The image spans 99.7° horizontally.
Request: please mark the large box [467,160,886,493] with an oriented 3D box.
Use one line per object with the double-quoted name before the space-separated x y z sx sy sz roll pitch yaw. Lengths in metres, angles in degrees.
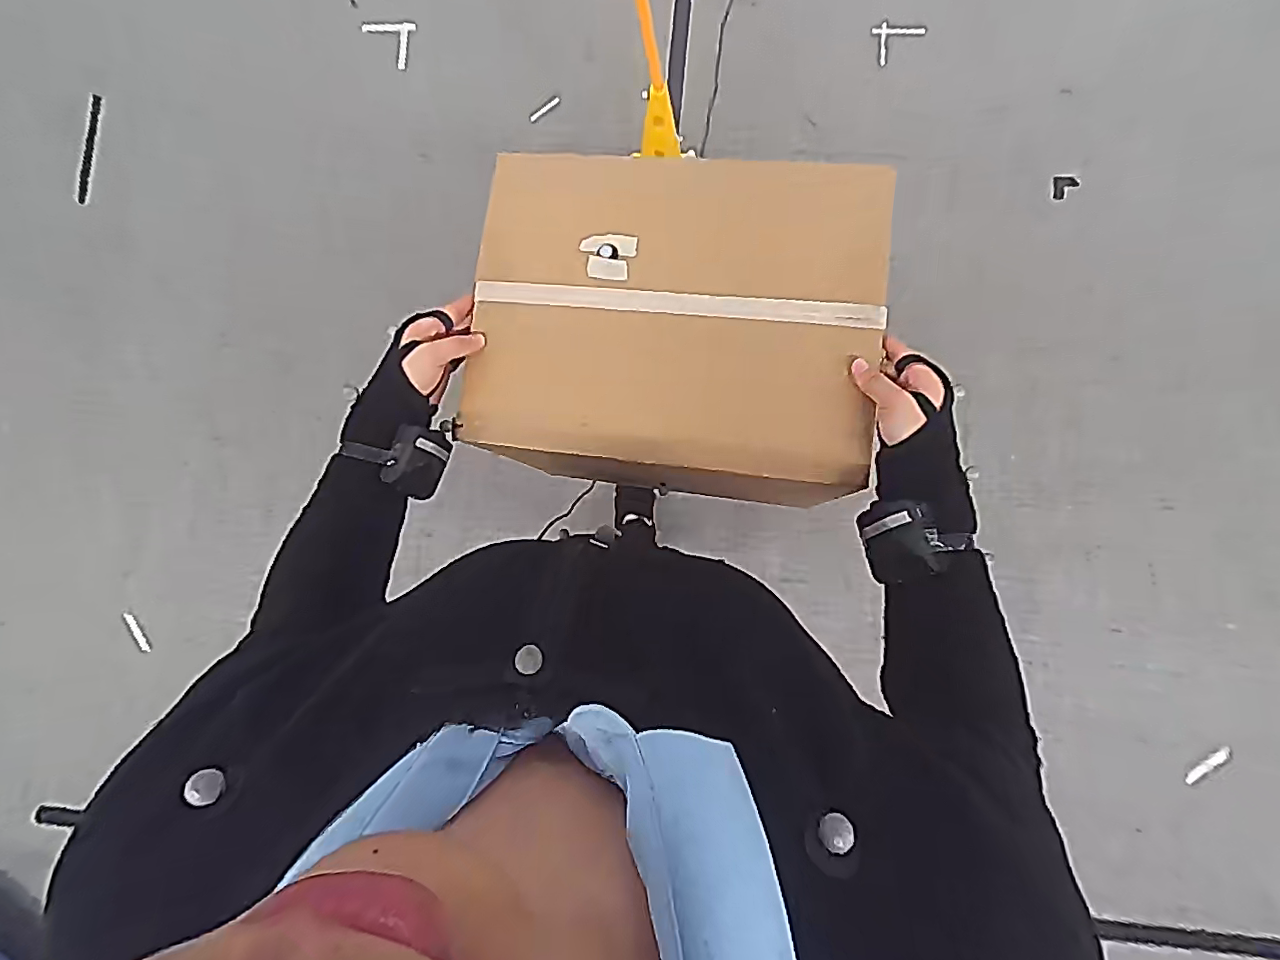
"large box" 0.053 -0.162 0.689 0.408 0.320 0.320 7 84 9
